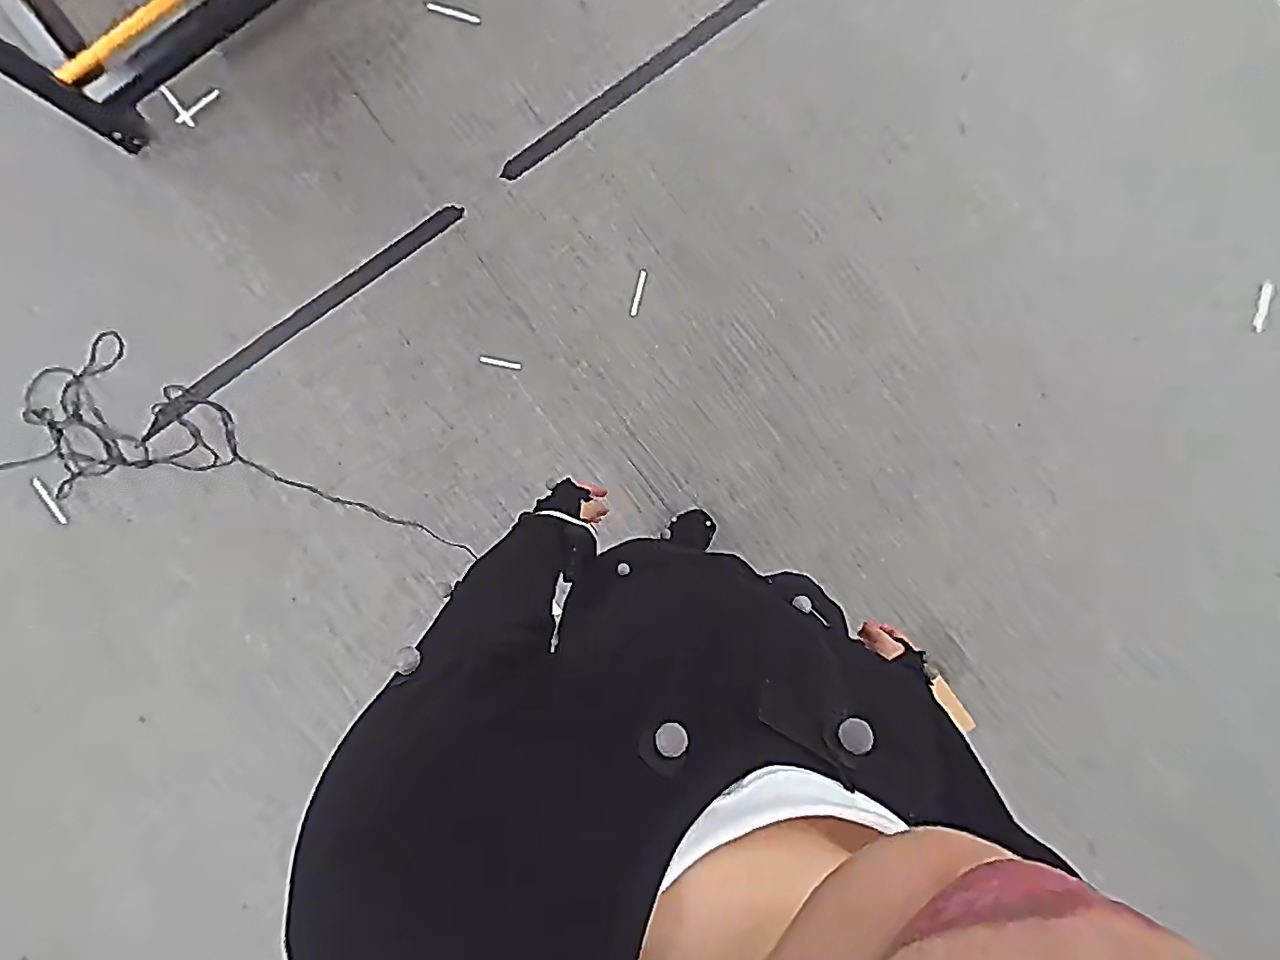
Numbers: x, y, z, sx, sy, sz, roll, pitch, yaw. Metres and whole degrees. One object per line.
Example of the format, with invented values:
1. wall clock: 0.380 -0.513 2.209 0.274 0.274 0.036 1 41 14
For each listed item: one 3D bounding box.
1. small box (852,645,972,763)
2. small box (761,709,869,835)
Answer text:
1. small box: 0.642 0.534 1.312 0.179 0.176 0.168 -36 90 -1
2. small box: 0.412 0.700 1.315 0.179 0.176 0.168 -35 89 0
